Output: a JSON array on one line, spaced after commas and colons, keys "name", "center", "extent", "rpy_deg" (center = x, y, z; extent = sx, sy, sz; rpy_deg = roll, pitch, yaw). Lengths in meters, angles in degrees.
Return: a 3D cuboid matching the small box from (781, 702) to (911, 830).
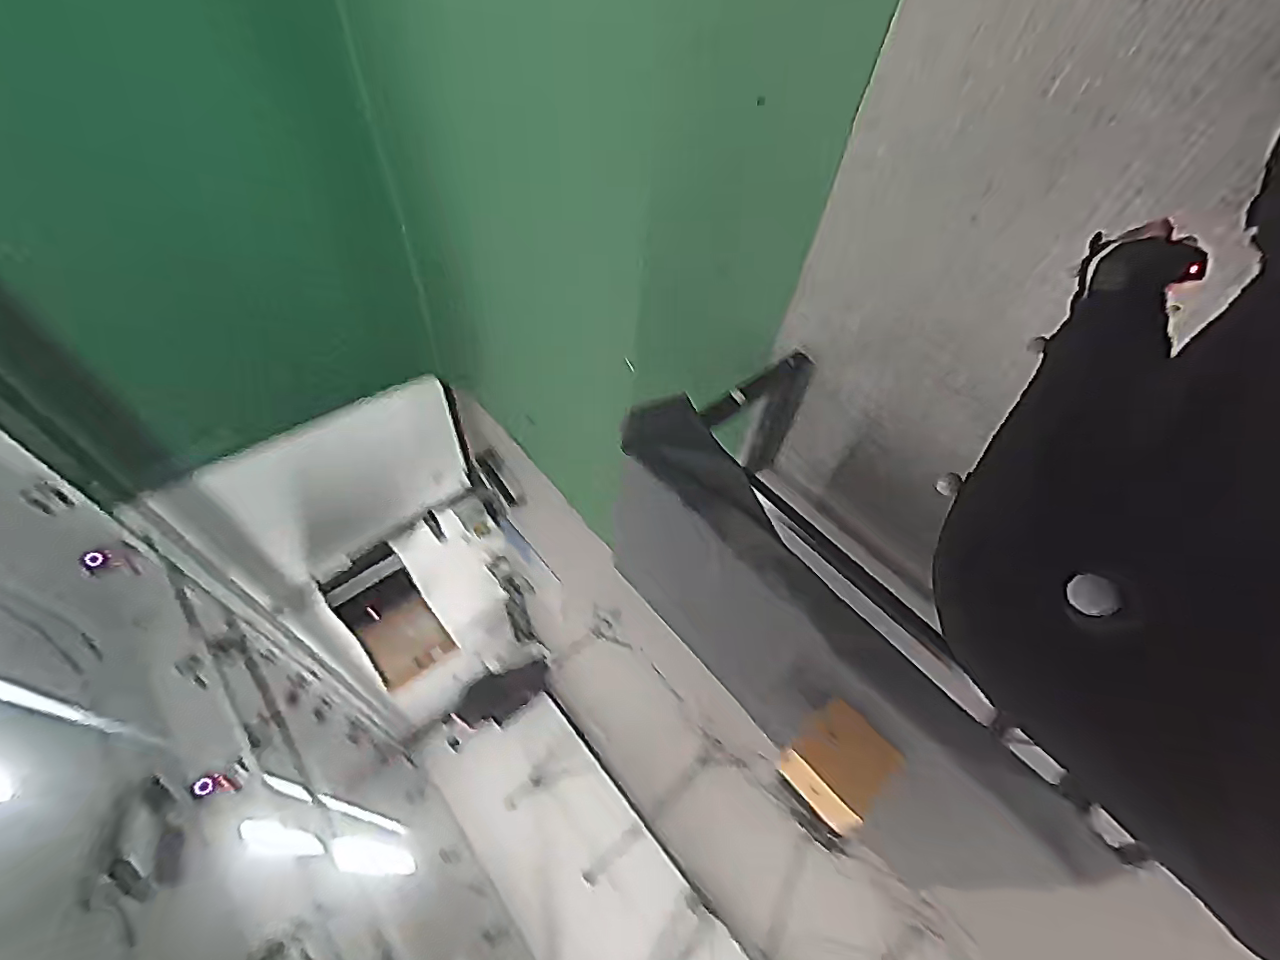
[{"name": "small box", "center": [0.443, 0.612, 1.175], "extent": [0.179, 0.176, 0.168], "rpy_deg": [41, 151, 28]}]
